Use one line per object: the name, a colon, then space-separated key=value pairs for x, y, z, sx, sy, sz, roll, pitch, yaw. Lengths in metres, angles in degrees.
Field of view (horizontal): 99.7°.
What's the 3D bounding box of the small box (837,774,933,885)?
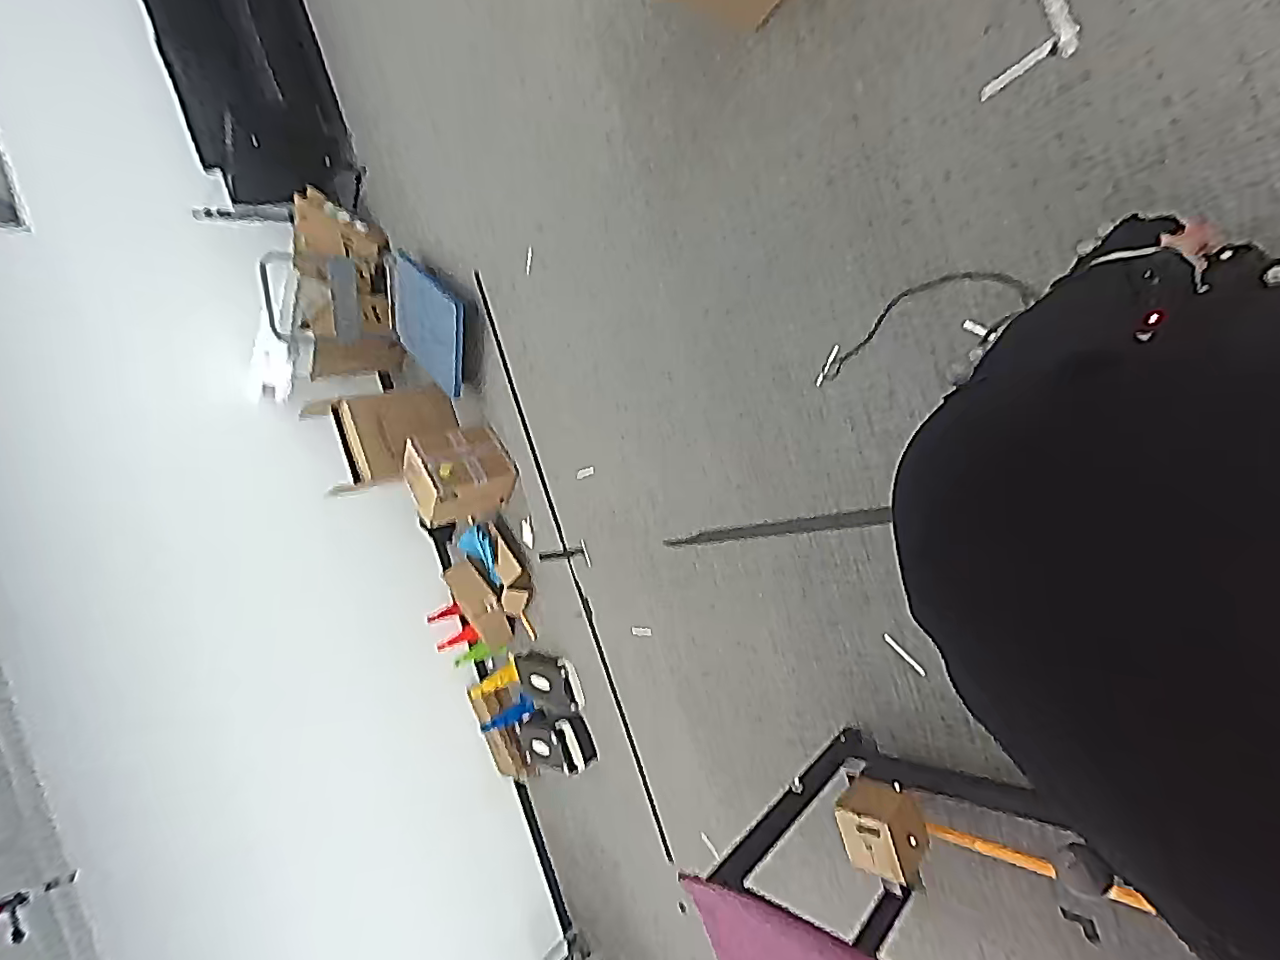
small box: x=0.690 y=0.967 z=1.518 sx=0.168 sy=0.176 sz=0.179 roll=-16 pitch=93 yaw=51
